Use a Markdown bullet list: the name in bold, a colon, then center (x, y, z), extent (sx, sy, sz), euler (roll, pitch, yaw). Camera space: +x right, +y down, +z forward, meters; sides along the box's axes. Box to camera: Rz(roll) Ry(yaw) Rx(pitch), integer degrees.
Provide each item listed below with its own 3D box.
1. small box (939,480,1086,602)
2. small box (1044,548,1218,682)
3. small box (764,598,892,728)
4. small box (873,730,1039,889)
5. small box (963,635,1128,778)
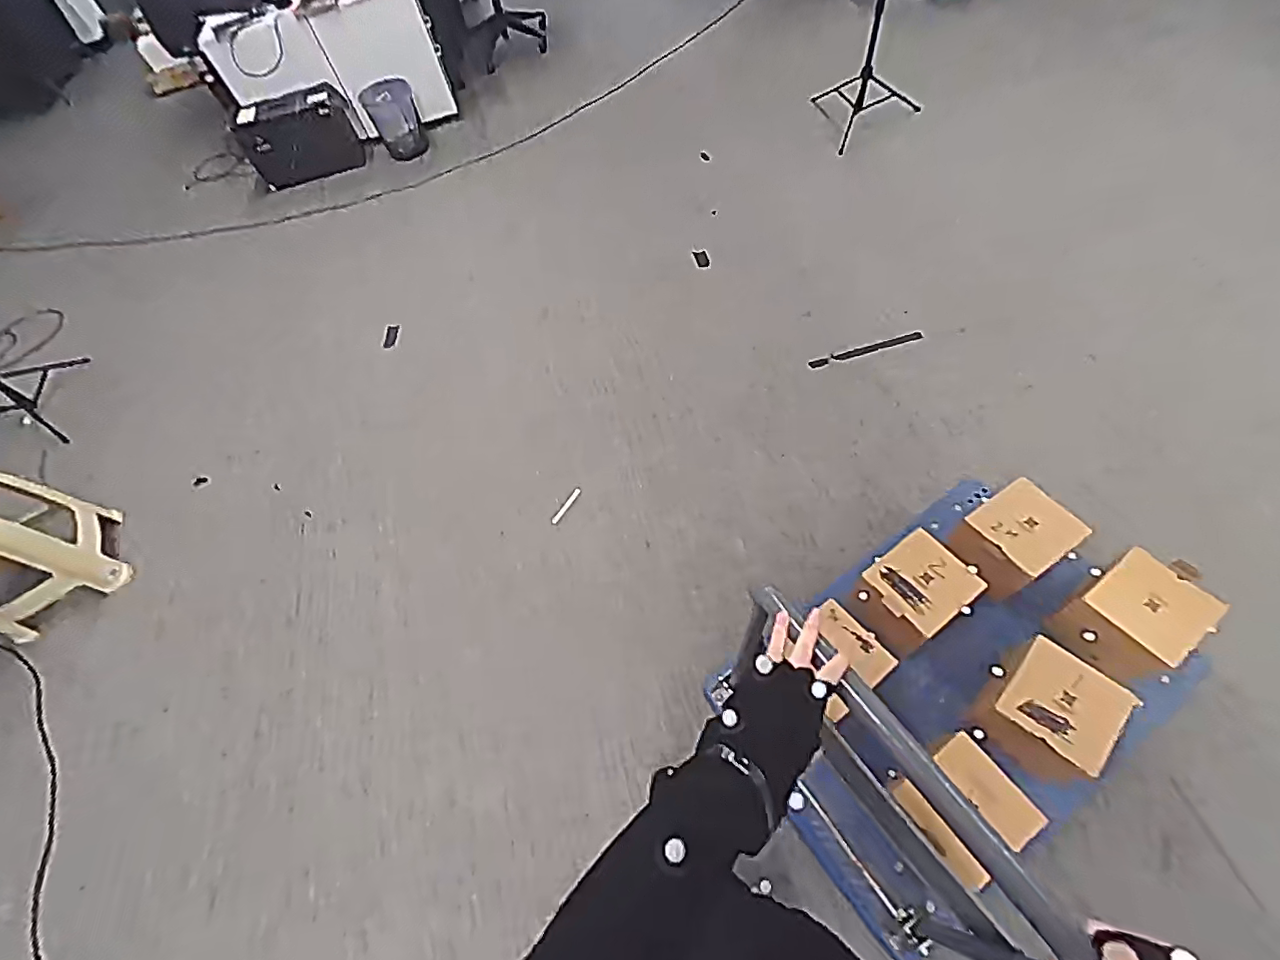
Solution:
- **small box**: center (0.800, 0.138, 1.184), extent (0.179, 0.176, 0.168), euler (-32, 60, -10)
- **small box**: center (0.959, 0.276, 1.081), extent (0.179, 0.176, 0.168), euler (-36, 61, -13)
- **small box**: center (0.371, 0.378, 1.102), extent (0.179, 0.176, 0.168), euler (-36, 62, -13)
- **small box**: center (0.541, 0.578, 0.960), extent (0.179, 0.176, 0.168), euler (-32, 61, -12)
- **small box**: center (0.745, 0.431, 1.017), extent (0.168, 0.176, 0.179), euler (37, 70, 26)
